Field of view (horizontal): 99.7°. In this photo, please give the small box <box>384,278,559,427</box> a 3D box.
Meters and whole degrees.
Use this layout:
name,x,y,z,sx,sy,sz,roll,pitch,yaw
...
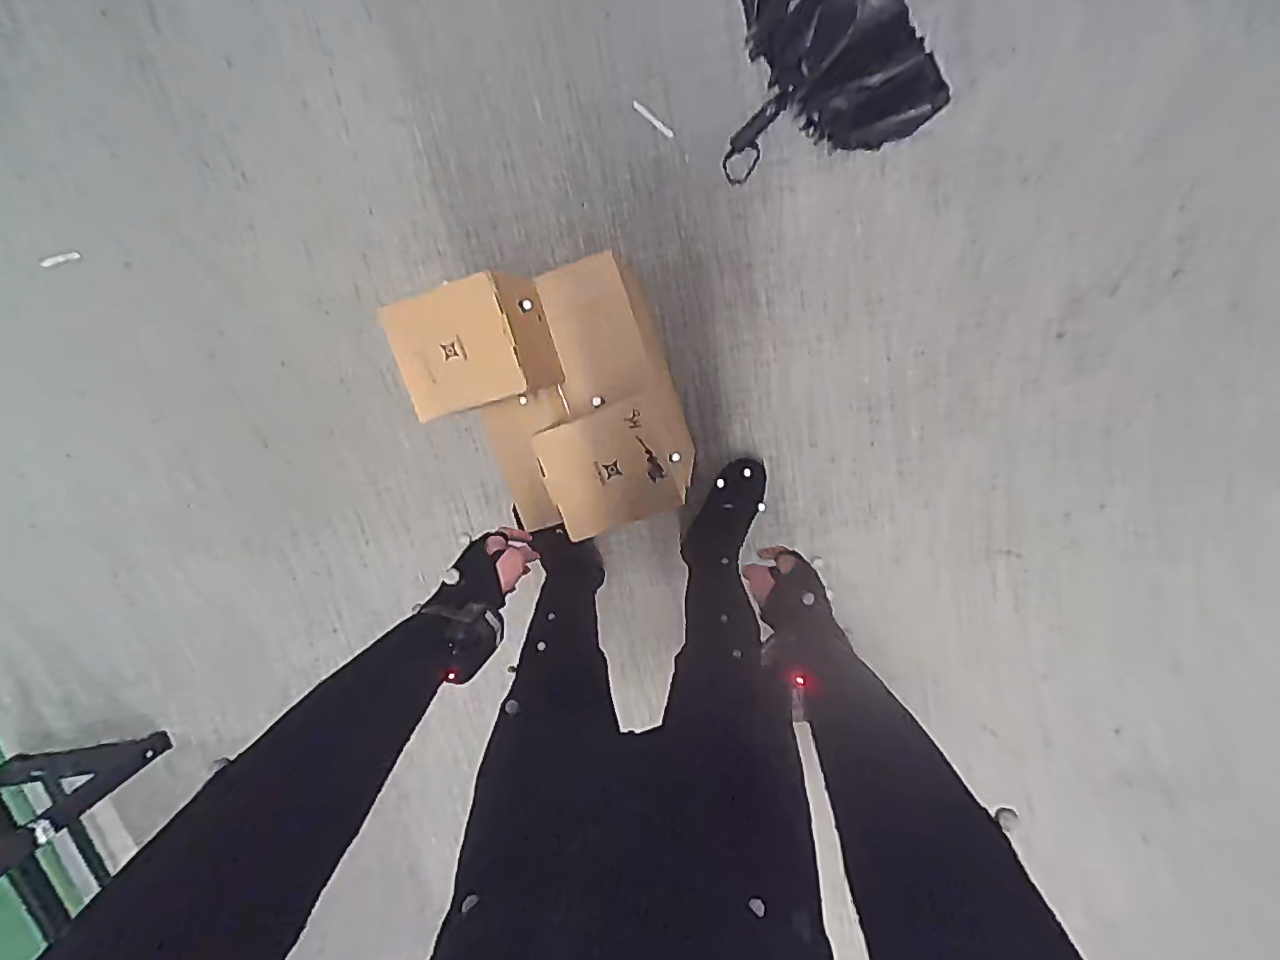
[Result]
name,x,y,z,sx,sy,sz,roll,pitch,yaw
small box,-0.238,-0.192,0.821,0.179,0.176,0.168,-15,100,15
